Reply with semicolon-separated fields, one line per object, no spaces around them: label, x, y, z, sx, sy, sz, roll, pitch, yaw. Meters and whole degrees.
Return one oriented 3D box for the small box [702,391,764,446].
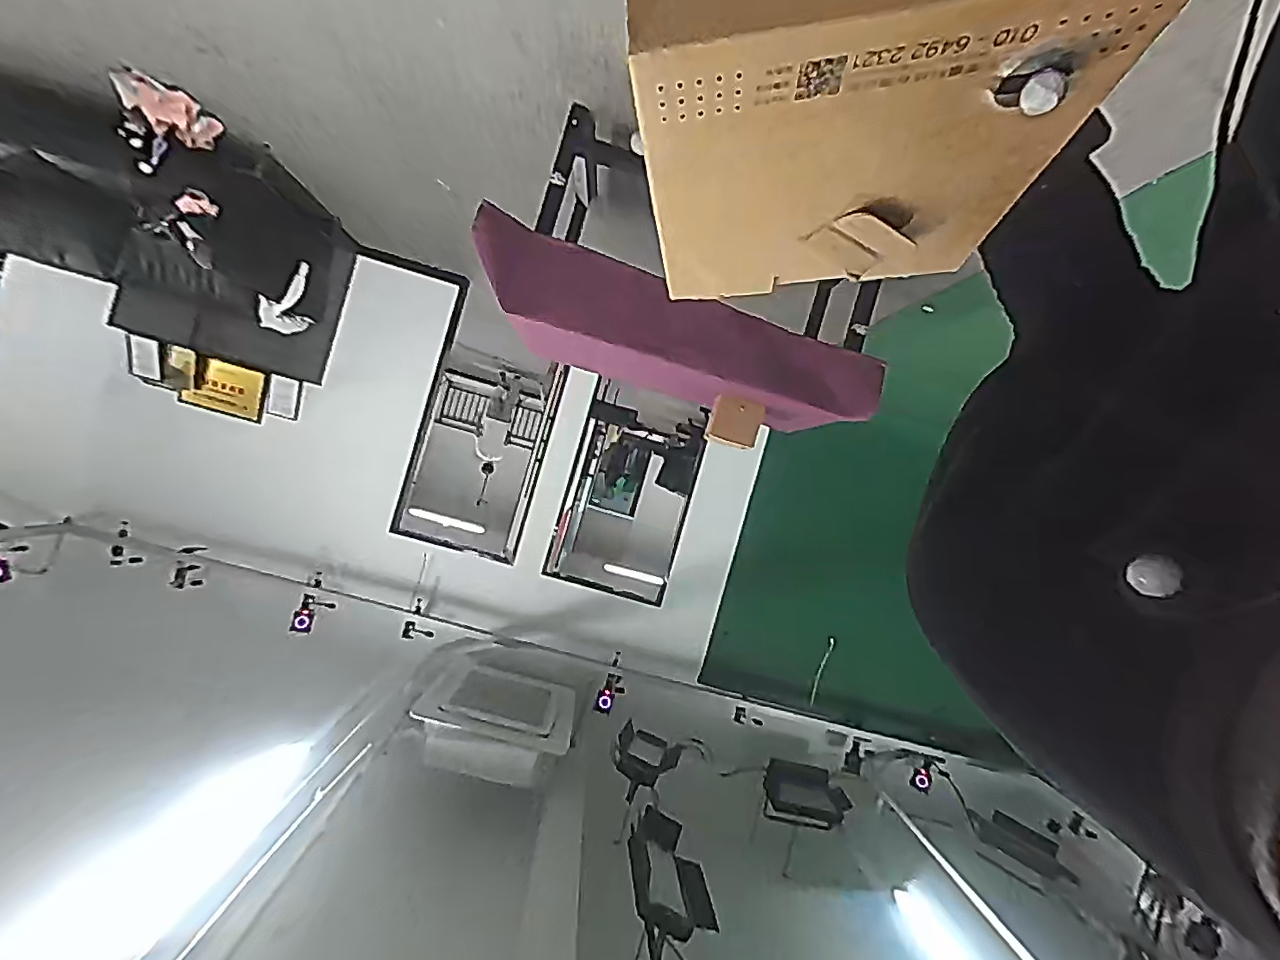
small box;0.360;-0.243;2.106;0.179;0.176;0.168;17;180;-2
